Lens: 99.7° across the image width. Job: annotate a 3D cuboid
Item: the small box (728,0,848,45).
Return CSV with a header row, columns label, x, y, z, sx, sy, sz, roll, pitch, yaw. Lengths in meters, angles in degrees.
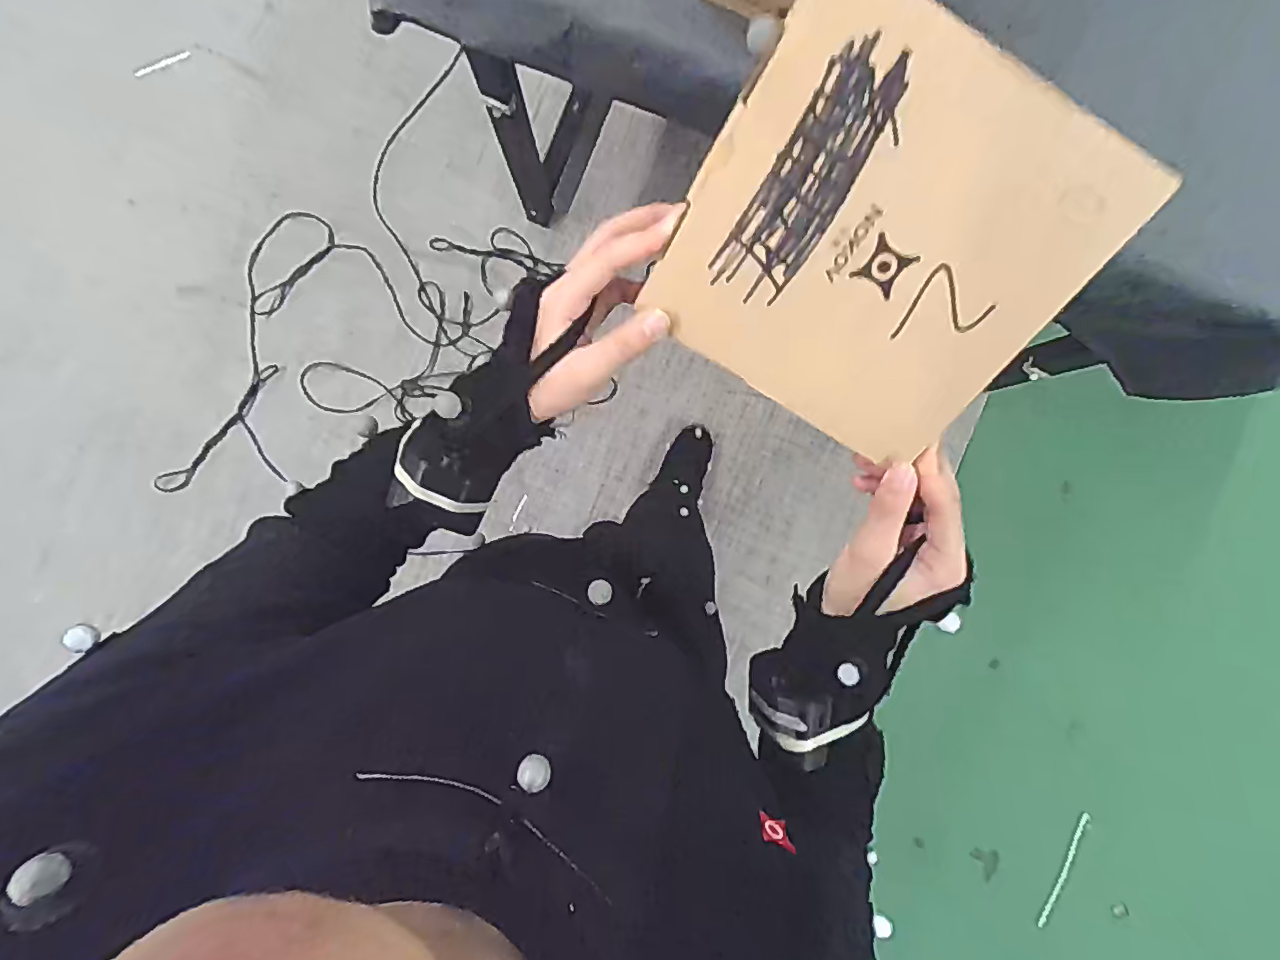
label,x,y,z,sx,sy,sz,roll,pitch,yaw
small box,0.178,-0.613,0.557,0.168,0.176,0.179,23,88,-3
